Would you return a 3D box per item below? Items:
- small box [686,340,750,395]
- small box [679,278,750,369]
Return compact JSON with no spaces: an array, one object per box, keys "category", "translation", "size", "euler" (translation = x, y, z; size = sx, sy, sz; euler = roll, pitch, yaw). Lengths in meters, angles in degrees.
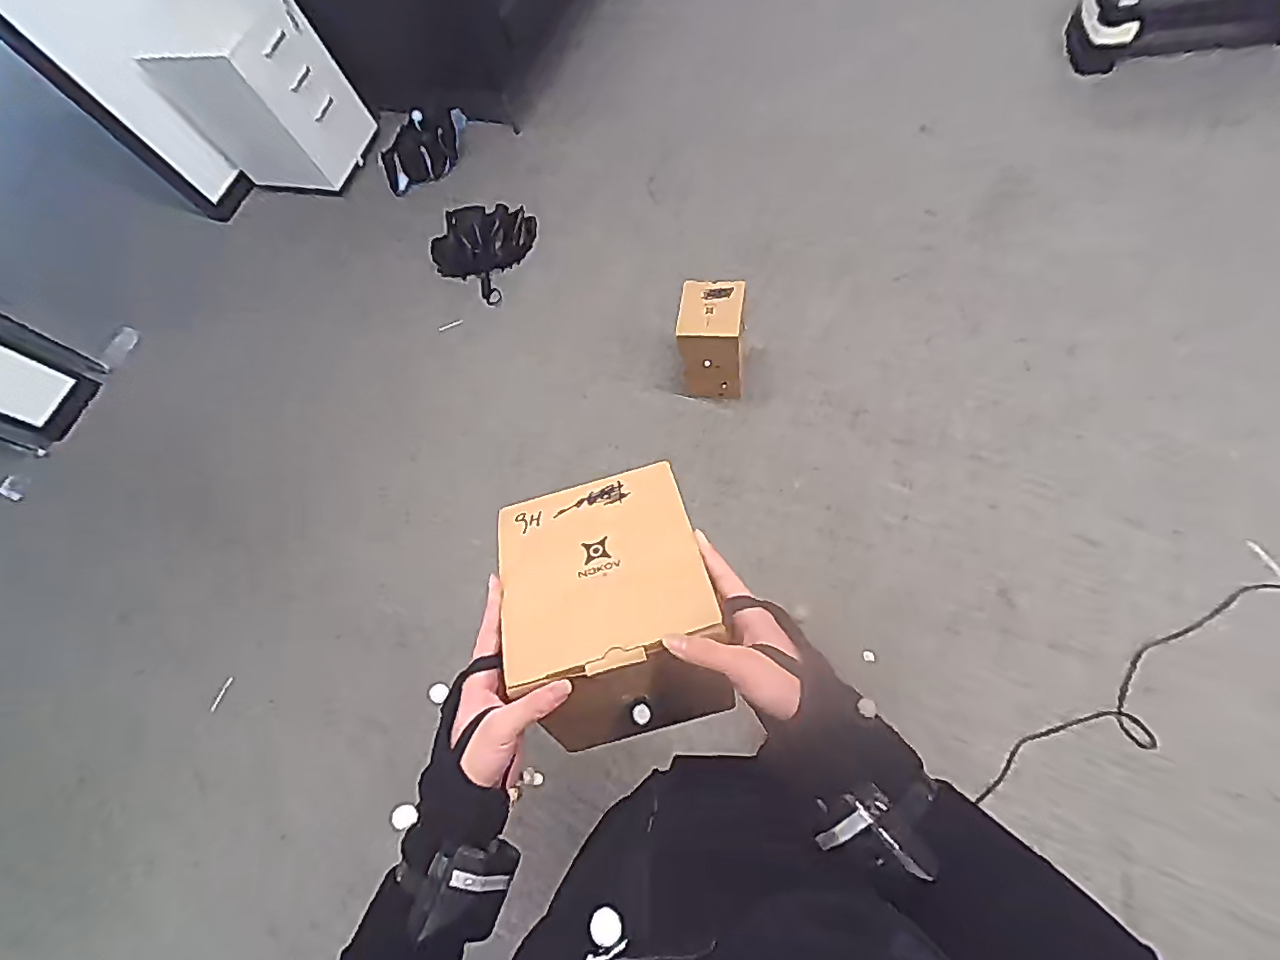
[{"category":"small box","translation":[0.240,-0.370,1.622],"size":[0.168,0.176,0.179],"euler":[4,69,15]},{"category":"small box","translation":[0.209,-0.424,1.470],"size":[0.168,0.176,0.179],"euler":[5,72,15]}]
